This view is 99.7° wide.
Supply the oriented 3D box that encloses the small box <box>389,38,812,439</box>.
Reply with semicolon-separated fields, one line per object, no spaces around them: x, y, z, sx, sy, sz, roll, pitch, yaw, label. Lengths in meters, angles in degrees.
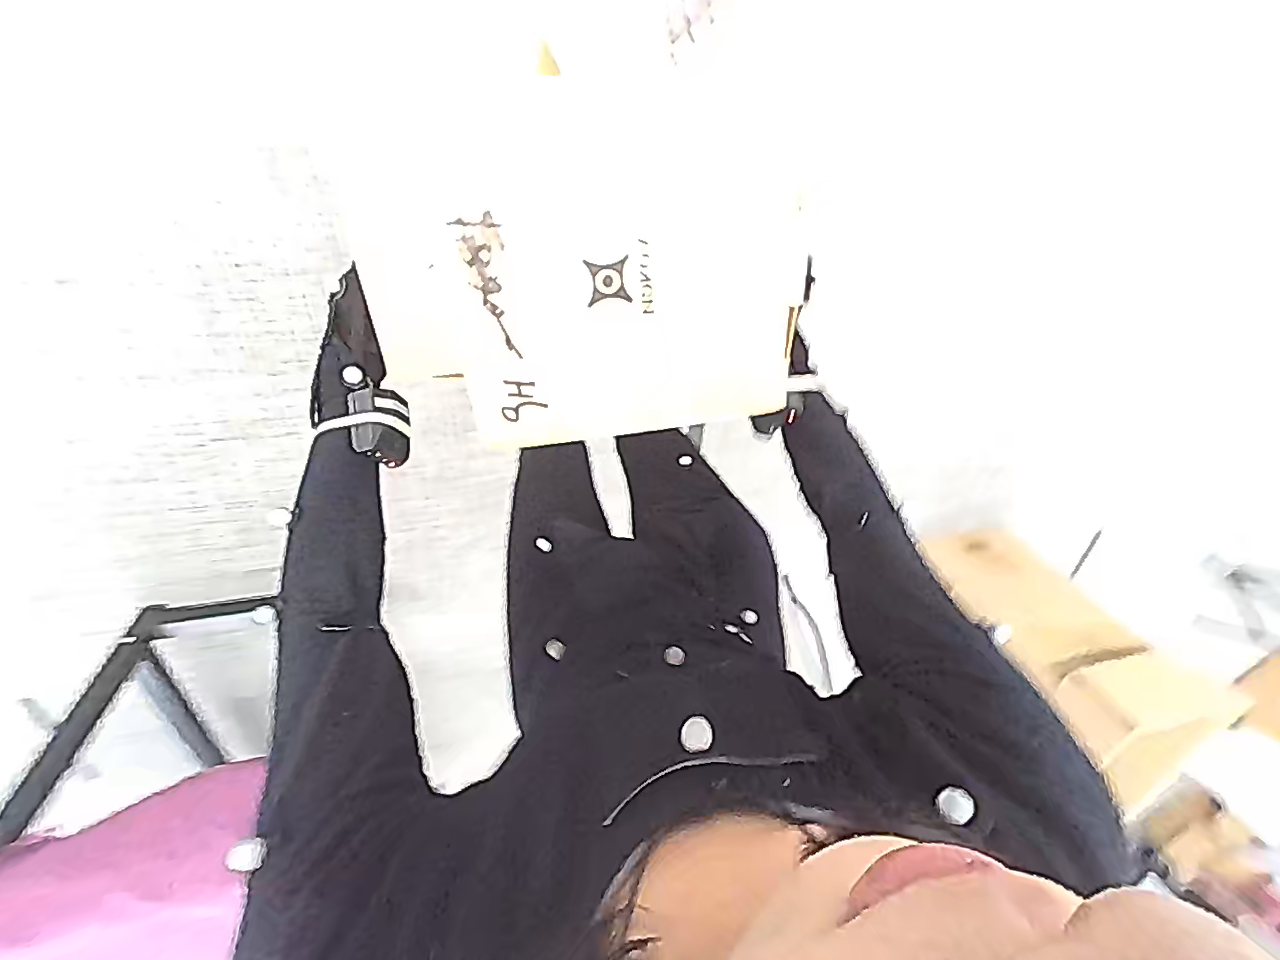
-0.021;-0.146;0.324;0.179;0.176;0.168;-9;123;-5;small box
